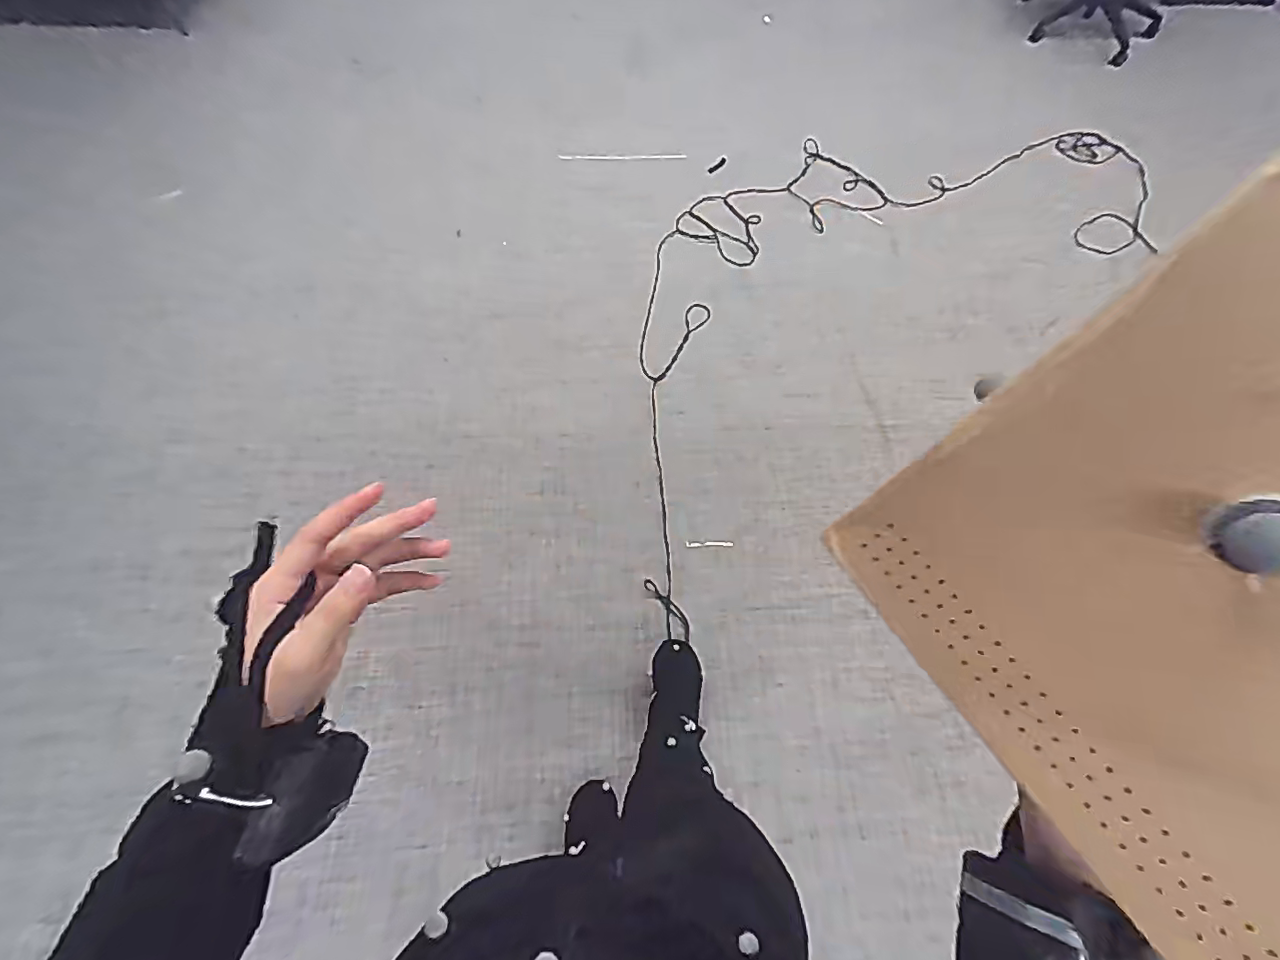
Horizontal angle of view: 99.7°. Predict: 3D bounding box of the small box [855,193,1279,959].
[{"bbox_3d":[0.223,0.034,0.212,0.168,0.176,0.179,-10,56,-48],"label":"small box"}]
